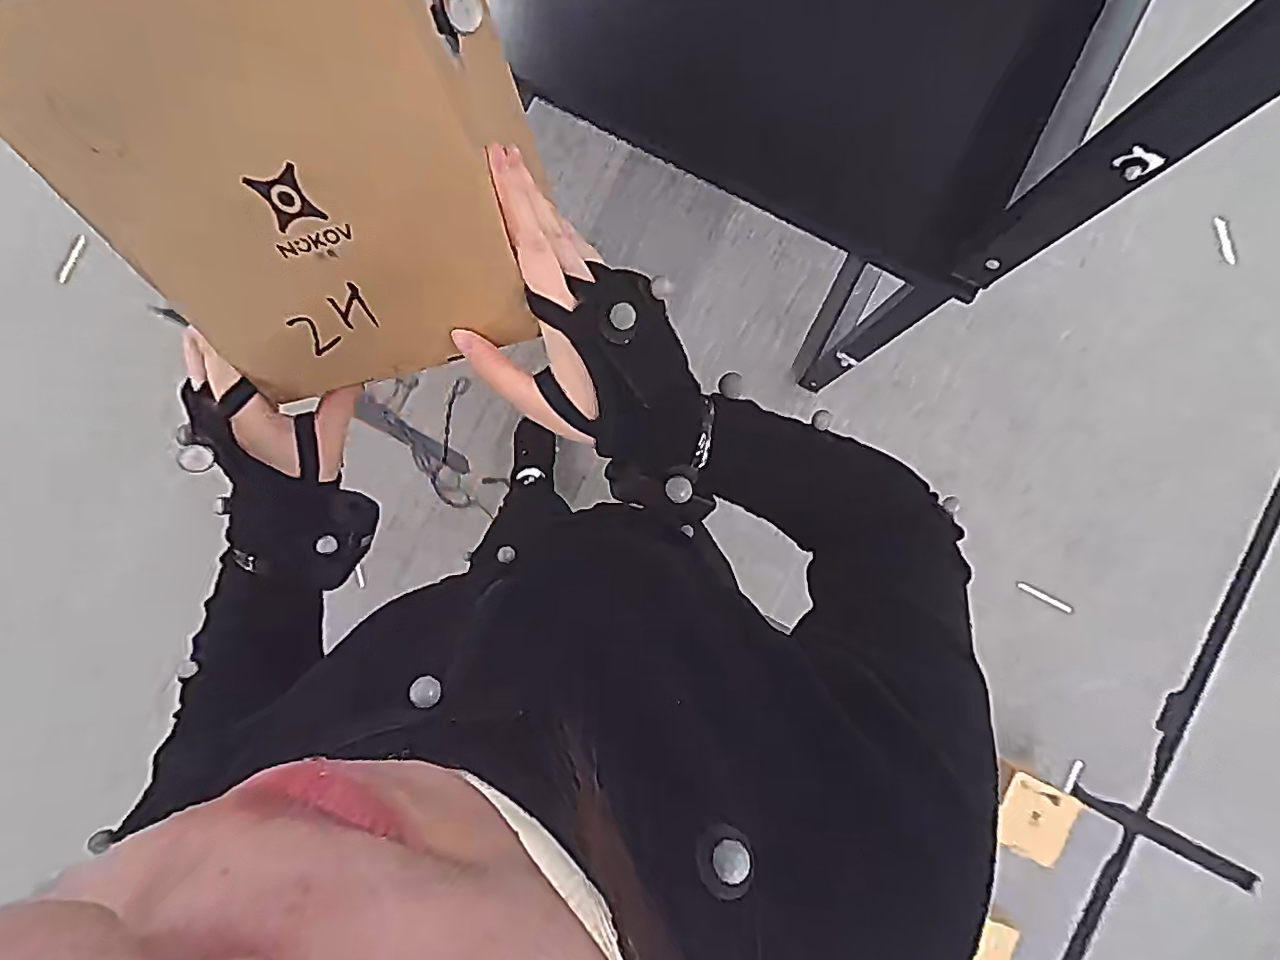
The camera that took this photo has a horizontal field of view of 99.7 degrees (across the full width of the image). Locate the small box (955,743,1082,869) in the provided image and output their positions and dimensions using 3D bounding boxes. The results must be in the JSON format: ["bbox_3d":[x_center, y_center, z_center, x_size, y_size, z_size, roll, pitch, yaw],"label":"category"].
[{"bbox_3d":[0.927,0.801,1.346,0.168,0.176,0.179,27,90,2],"label":"small box"}]

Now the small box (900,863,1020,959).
[{"bbox_3d":[0.783,1.104,1.344,0.179,0.176,0.168,20,89,2],"label":"small box"}]
